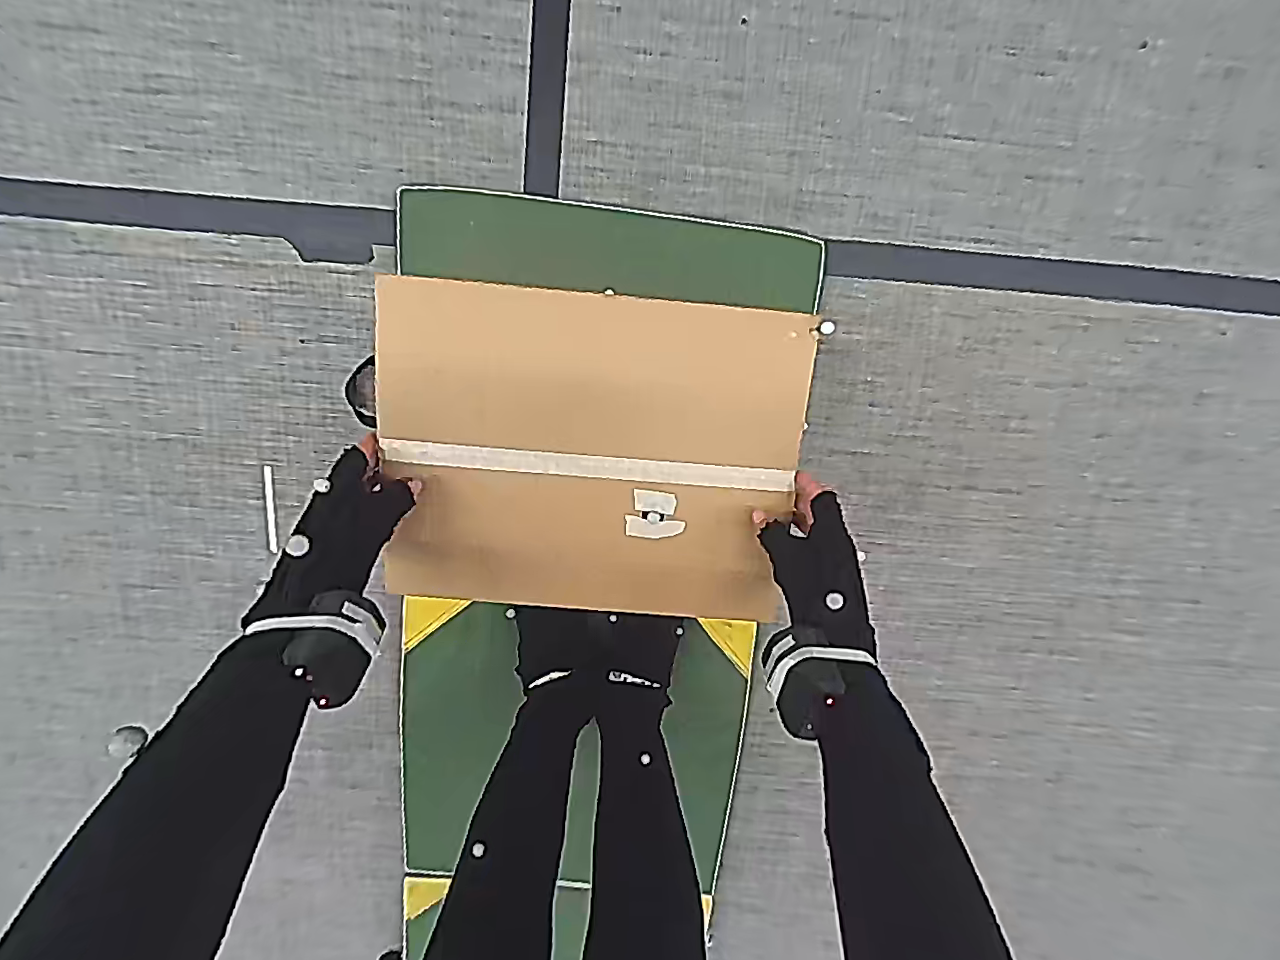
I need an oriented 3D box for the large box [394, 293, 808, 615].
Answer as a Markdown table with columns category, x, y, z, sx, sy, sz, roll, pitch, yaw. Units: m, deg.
| category | x | y | z | sx | sy | sz | roll | pitch | yaw |
| --- | --- | --- | --- | --- | --- | --- | --- | --- | --- |
| large box | -0.051 | -0.047 | 0.692 | 0.408 | 0.320 | 0.320 | 5 | 104 | -3 |
